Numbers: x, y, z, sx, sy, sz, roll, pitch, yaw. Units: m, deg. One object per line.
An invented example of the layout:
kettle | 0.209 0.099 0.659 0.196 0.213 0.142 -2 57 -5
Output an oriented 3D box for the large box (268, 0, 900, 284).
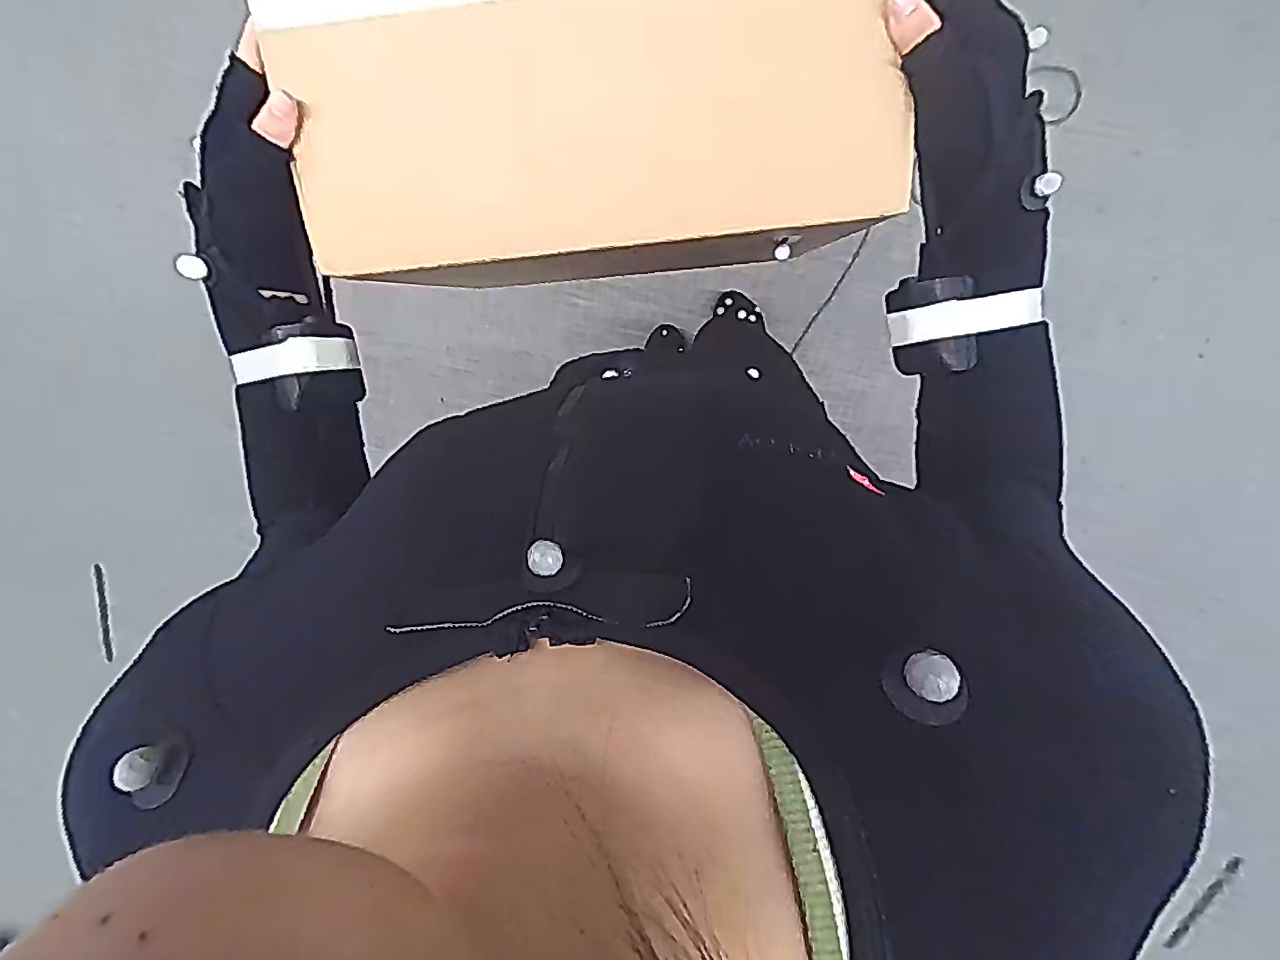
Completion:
large box | -0.032 -0.359 0.476 0.408 0.320 0.320 -5 107 5
